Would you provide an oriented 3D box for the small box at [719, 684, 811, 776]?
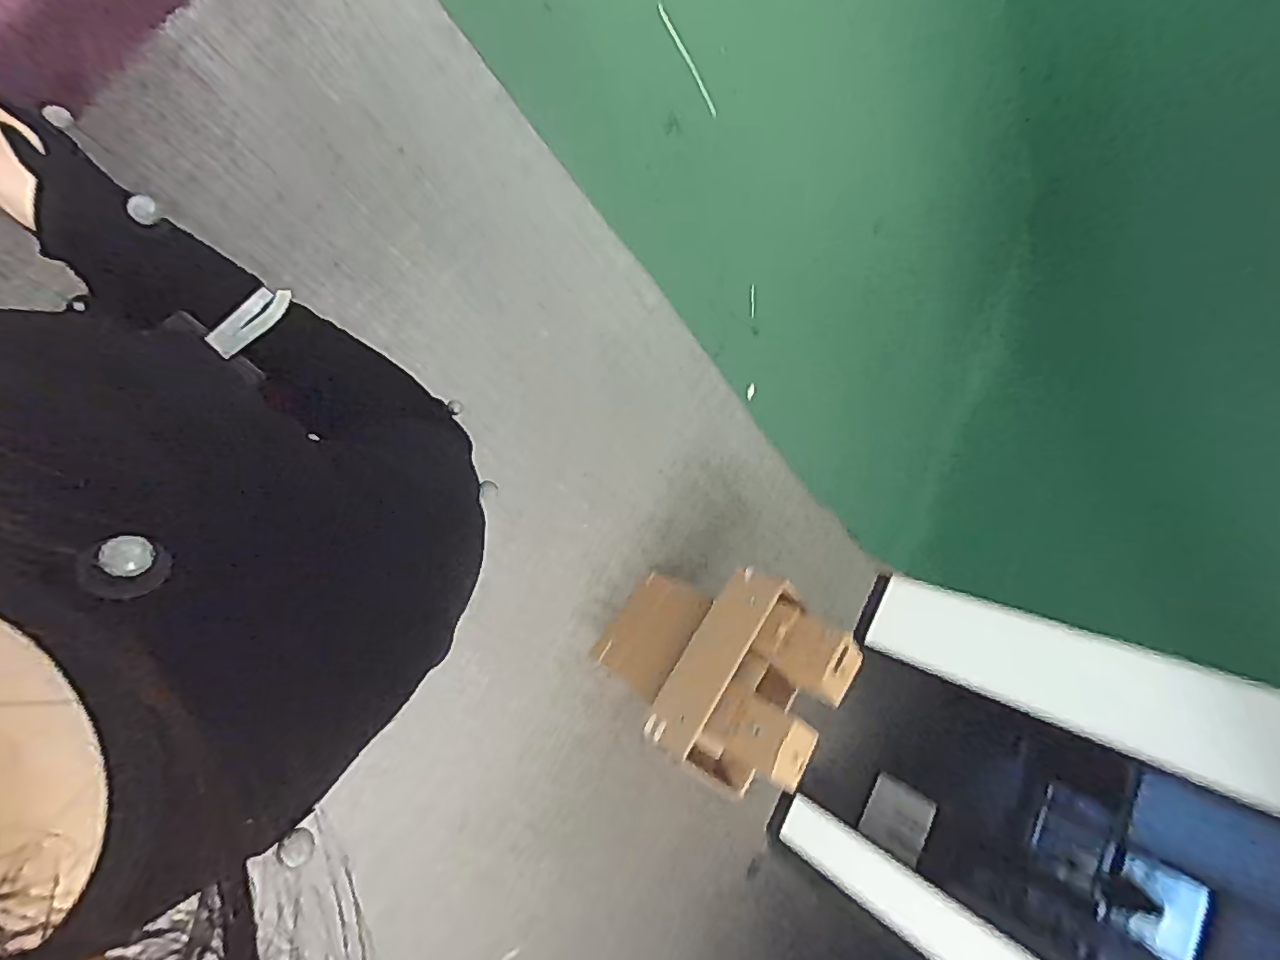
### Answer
[{"bbox_3d":[0.360,0.720,1.571,0.179,0.176,0.168,45,71,-37],"label":"small box"}]
